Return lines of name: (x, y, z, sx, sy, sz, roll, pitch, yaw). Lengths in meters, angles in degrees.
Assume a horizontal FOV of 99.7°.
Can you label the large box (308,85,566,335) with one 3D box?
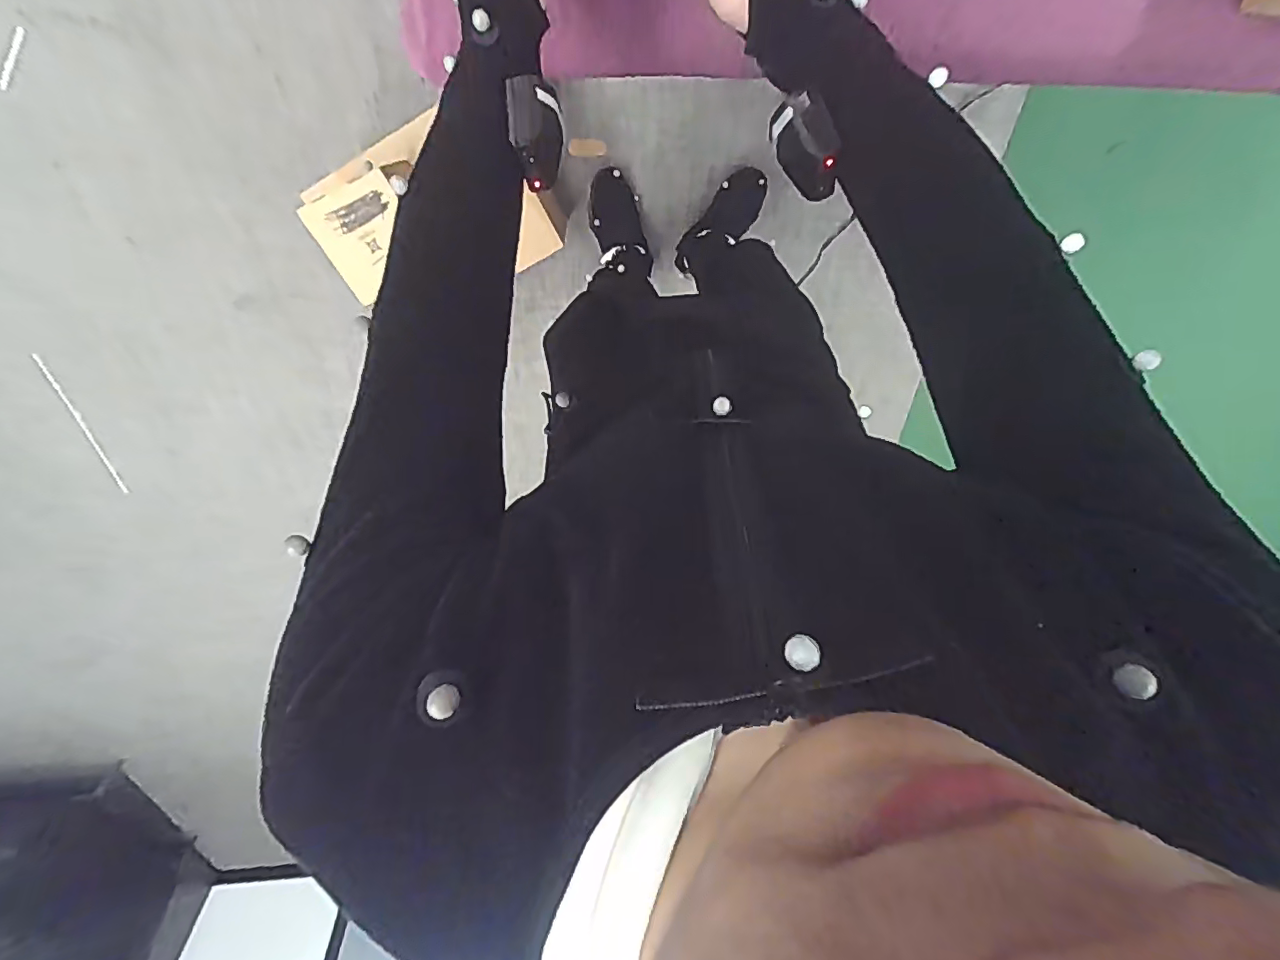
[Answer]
large box: (-0.412, -0.591, 1.197, 0.408, 0.320, 0.320, -25, 124, 10)
